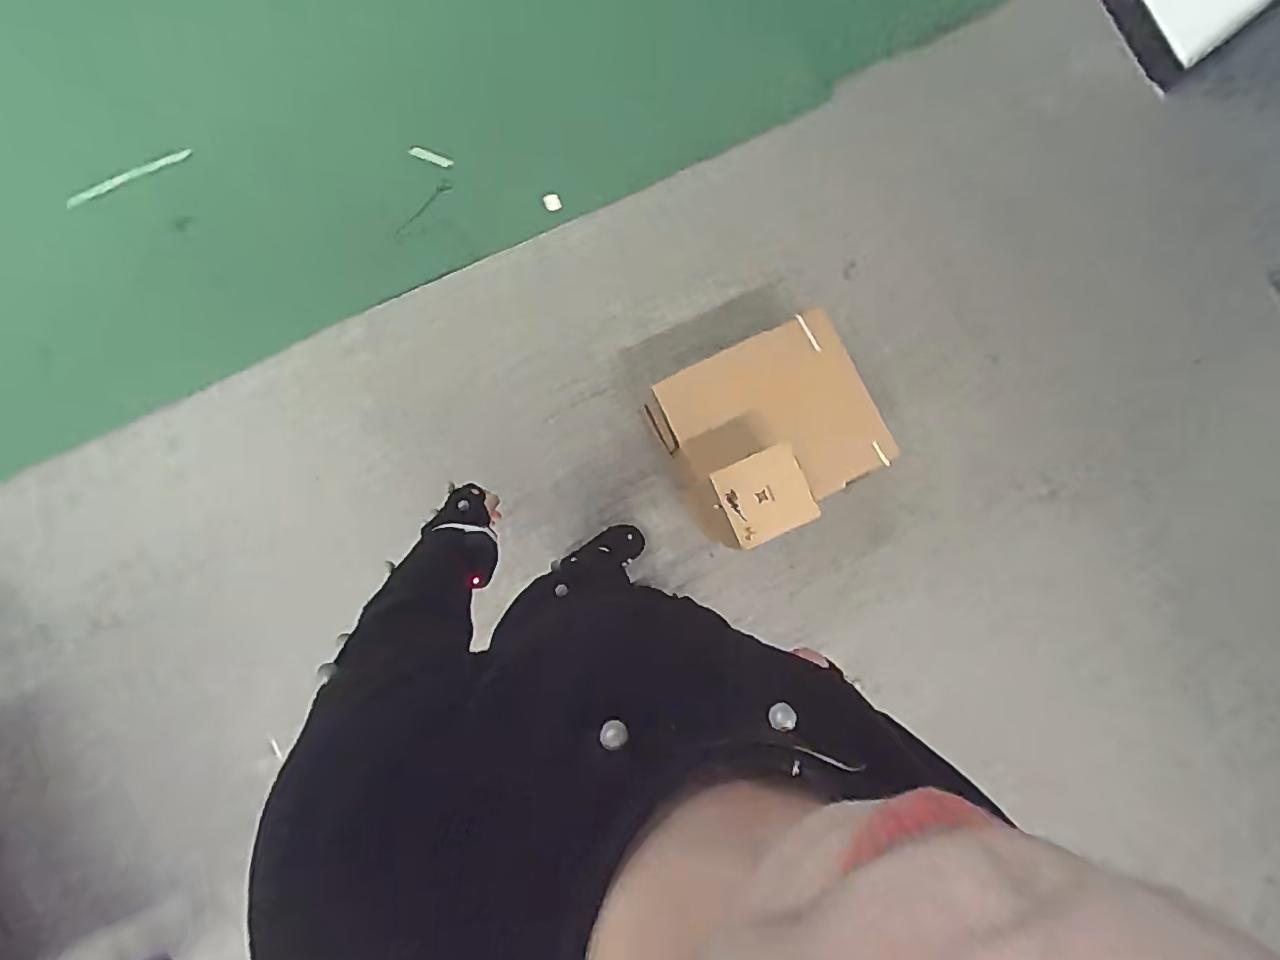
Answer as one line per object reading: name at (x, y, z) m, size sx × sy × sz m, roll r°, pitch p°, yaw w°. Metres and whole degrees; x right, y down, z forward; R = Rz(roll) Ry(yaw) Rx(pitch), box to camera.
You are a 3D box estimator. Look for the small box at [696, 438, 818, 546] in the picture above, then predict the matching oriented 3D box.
small box at (0.235, 0.026, 1.131) m, size 0.179 × 0.176 × 0.168 m, roll -22°, pitch 88°, yaw -5°
